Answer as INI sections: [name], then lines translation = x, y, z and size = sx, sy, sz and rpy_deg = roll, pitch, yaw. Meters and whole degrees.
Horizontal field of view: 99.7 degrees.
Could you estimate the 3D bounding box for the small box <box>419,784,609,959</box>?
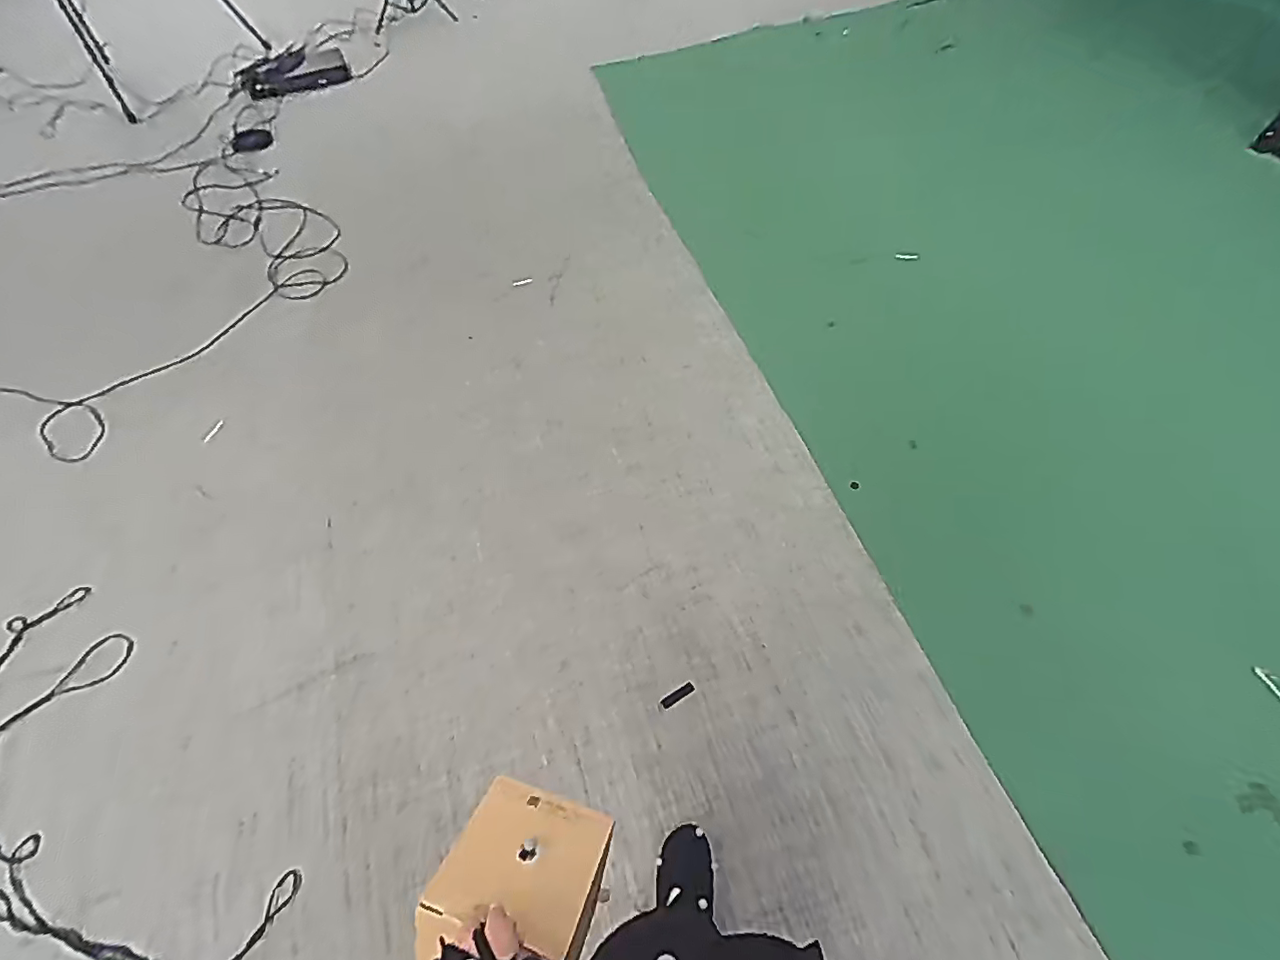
[small box]
translation = -0.143, 0.512, 0.651
size = 0.168, 0.179, 0.176
rpy_deg = 13, 22, 11
